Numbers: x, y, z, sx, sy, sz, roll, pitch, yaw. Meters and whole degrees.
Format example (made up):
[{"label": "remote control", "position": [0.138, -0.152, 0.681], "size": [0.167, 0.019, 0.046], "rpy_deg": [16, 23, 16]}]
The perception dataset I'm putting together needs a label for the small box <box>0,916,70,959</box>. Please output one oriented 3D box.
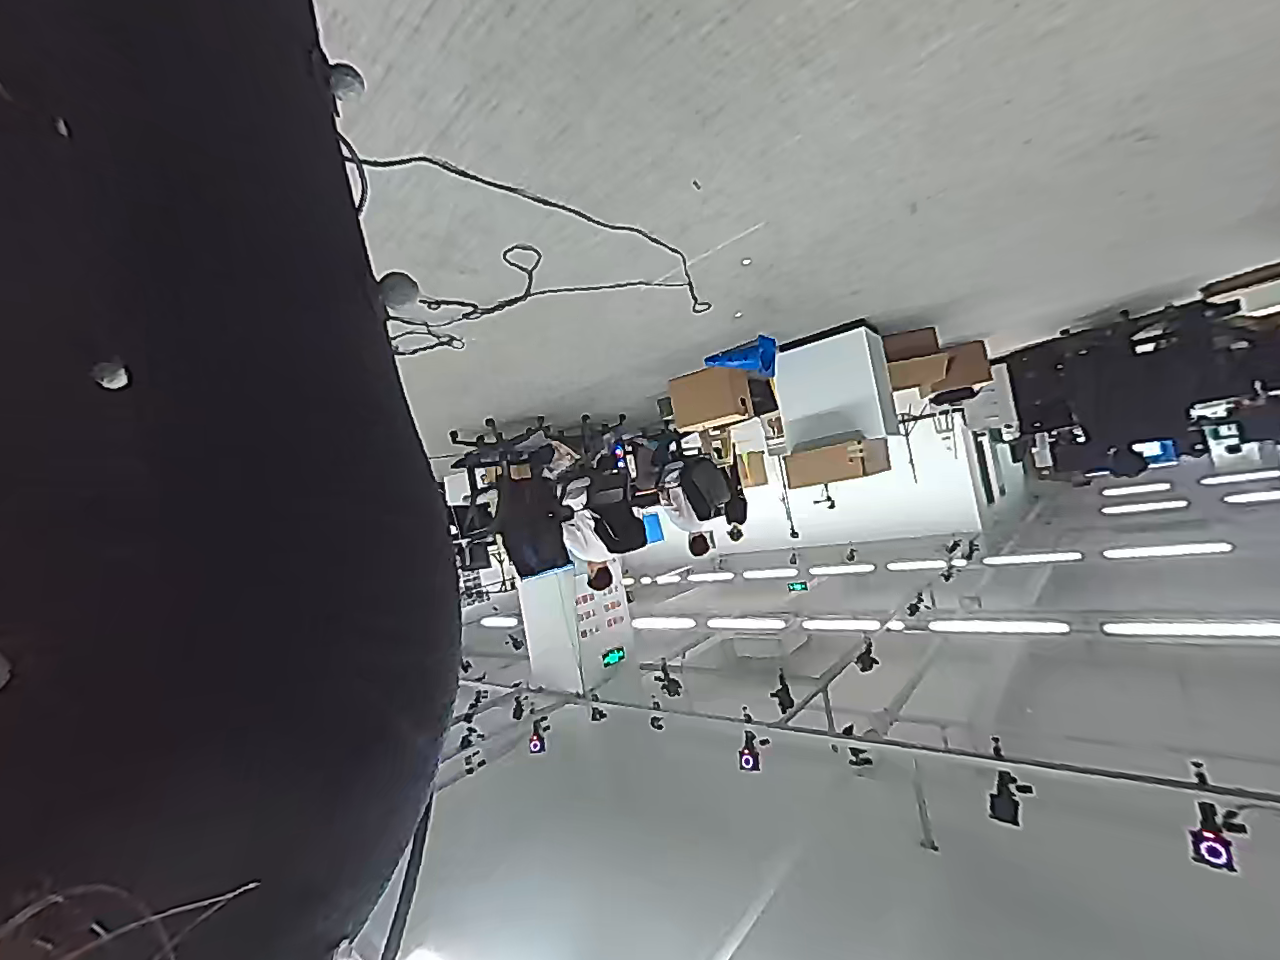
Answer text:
[{"label": "small box", "position": [-1.414, 1.148, 1.226], "size": [0.179, 0.176, 0.168], "rpy_deg": [-10, 179, 41]}]
